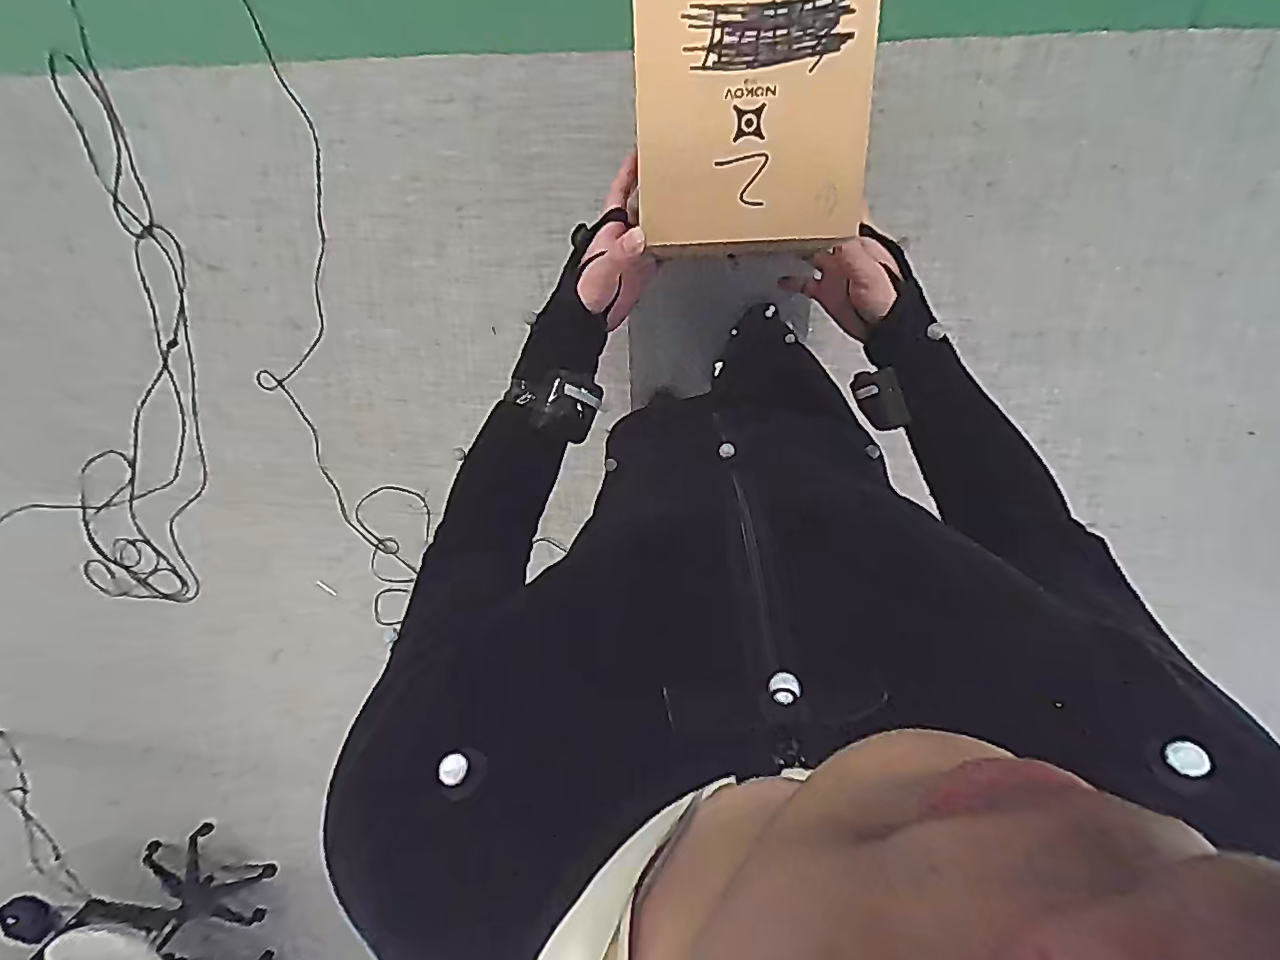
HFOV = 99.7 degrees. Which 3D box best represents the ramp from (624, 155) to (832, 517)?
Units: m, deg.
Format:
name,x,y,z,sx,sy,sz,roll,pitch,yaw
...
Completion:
name,x,y,z,sx,sy,sz,roll,pitch,yaw
ramp,0.220,-0.323,1.514,0.509,0.206,0.991,0,109,6
